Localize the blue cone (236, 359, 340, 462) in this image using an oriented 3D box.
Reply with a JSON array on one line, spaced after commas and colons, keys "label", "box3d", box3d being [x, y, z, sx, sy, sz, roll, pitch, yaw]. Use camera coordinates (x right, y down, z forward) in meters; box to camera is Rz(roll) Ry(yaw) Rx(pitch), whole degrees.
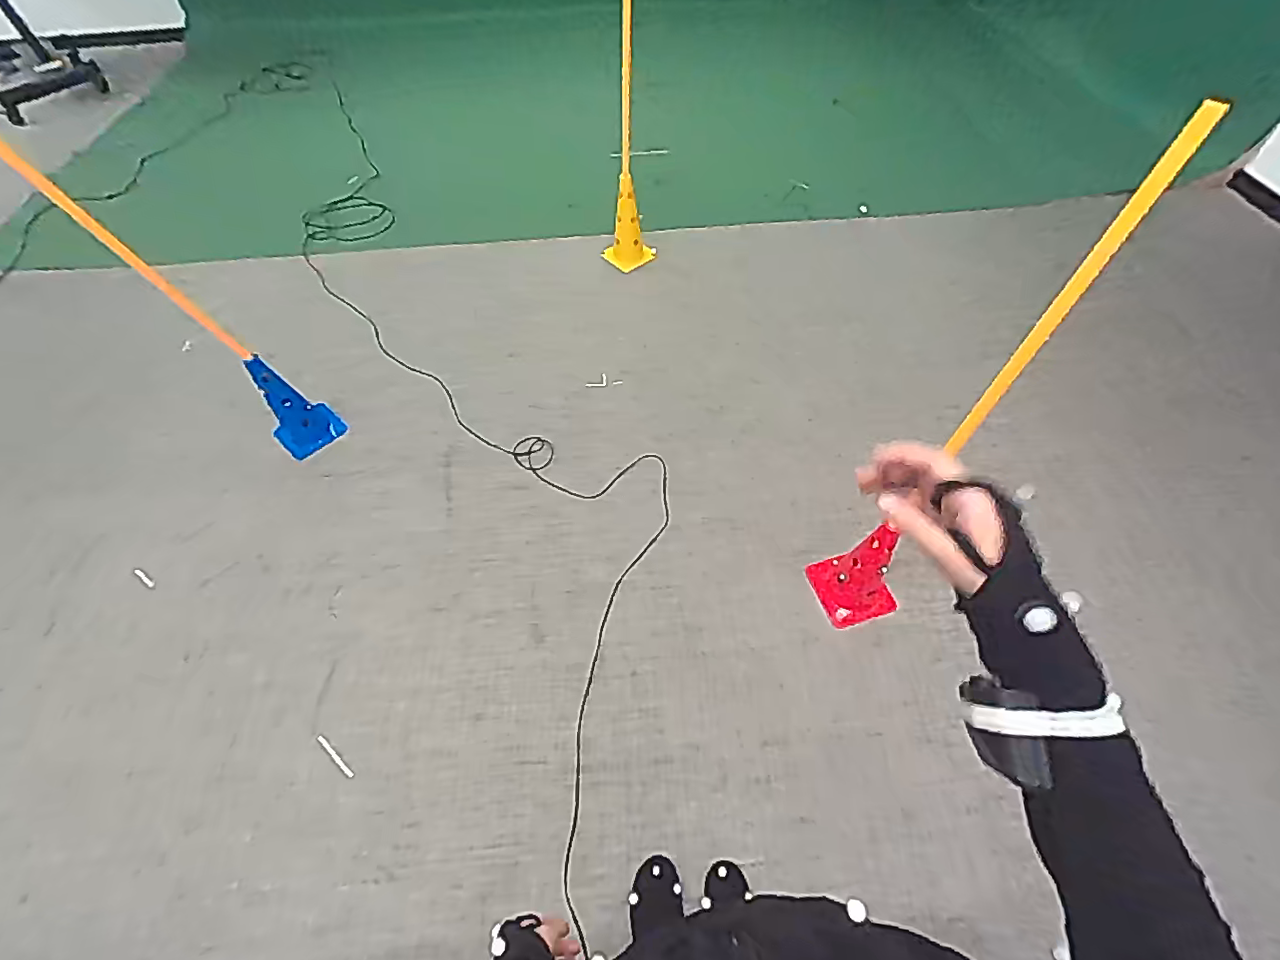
[{"label": "blue cone", "box3d": [-1.187, -0.247, 1.778, 0.192, 0.380, 0.193, 35, 65, 22]}]
